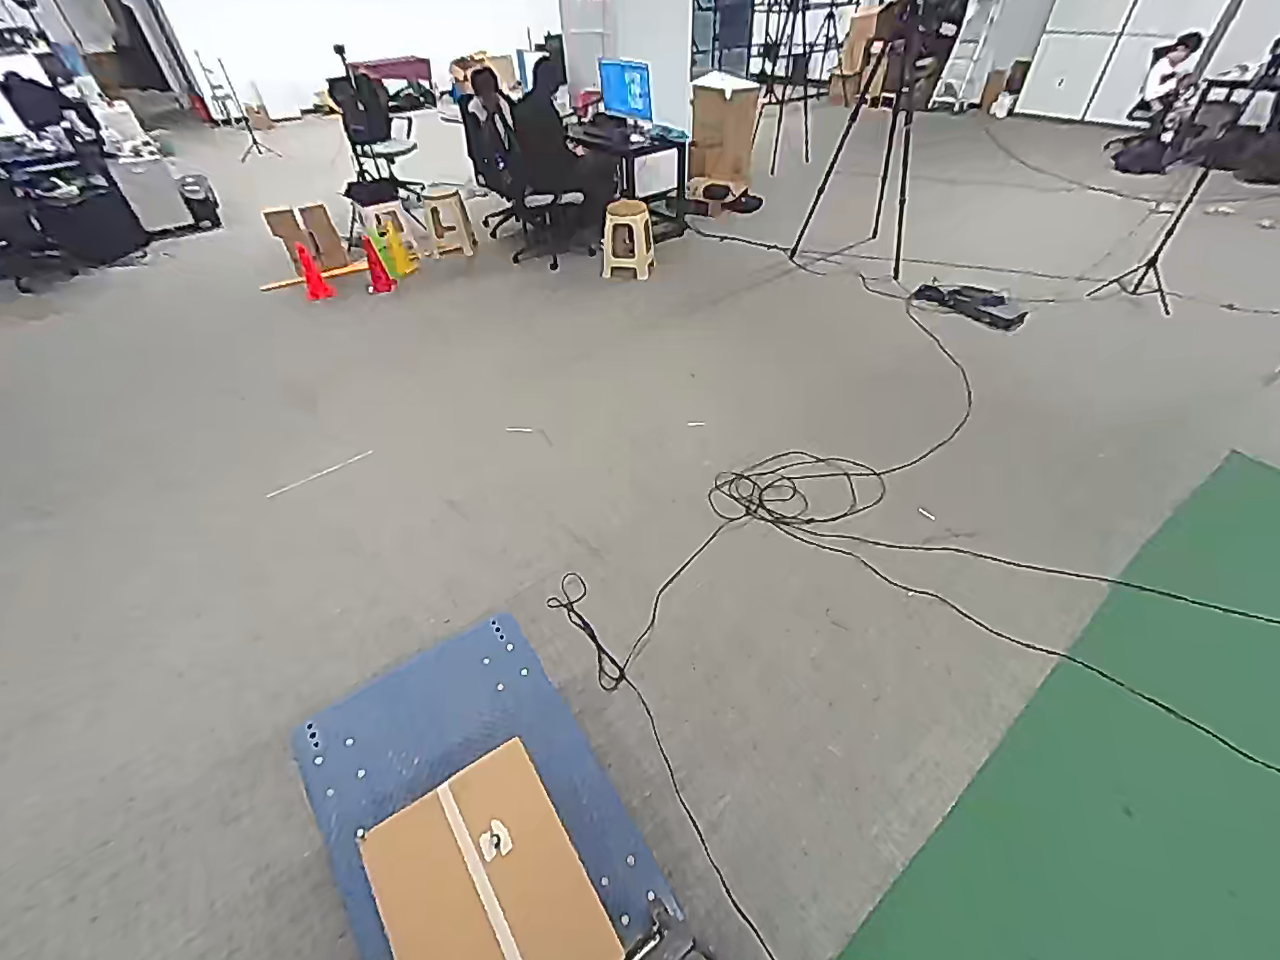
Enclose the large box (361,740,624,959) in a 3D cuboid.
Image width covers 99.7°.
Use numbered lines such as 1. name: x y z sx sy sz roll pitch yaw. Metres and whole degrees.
1. large box: -0.273 0.801 1.047 0.320 0.320 0.408 -25 60 -24
